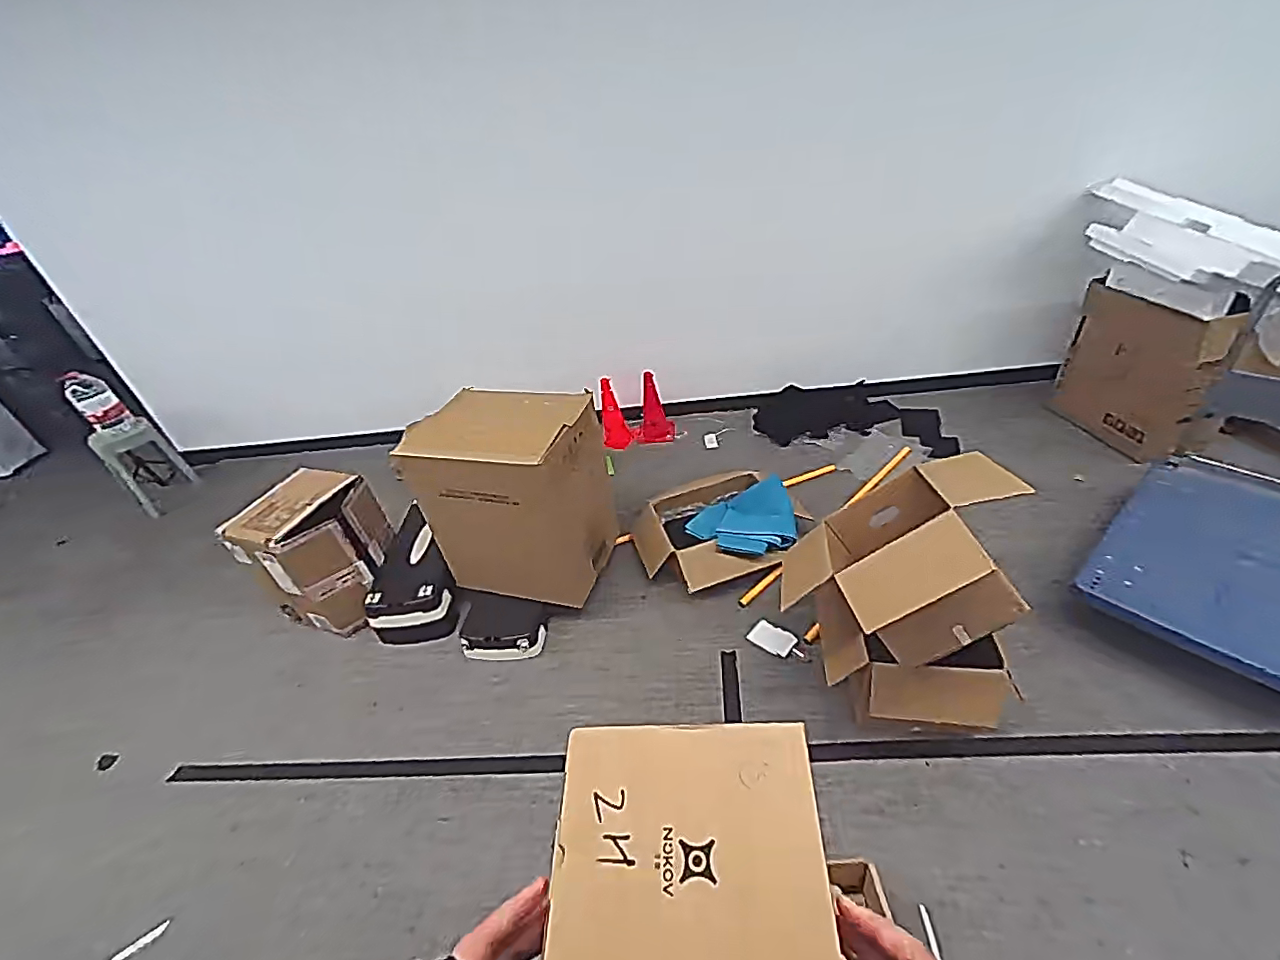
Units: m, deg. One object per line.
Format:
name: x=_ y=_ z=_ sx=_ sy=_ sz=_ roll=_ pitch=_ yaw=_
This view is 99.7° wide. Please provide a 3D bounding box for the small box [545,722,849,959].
small box: x=0.045 y=0.292 z=0.397 sx=0.179 sy=0.176 sz=0.168 roll=-5 pitch=45 yaw=9
